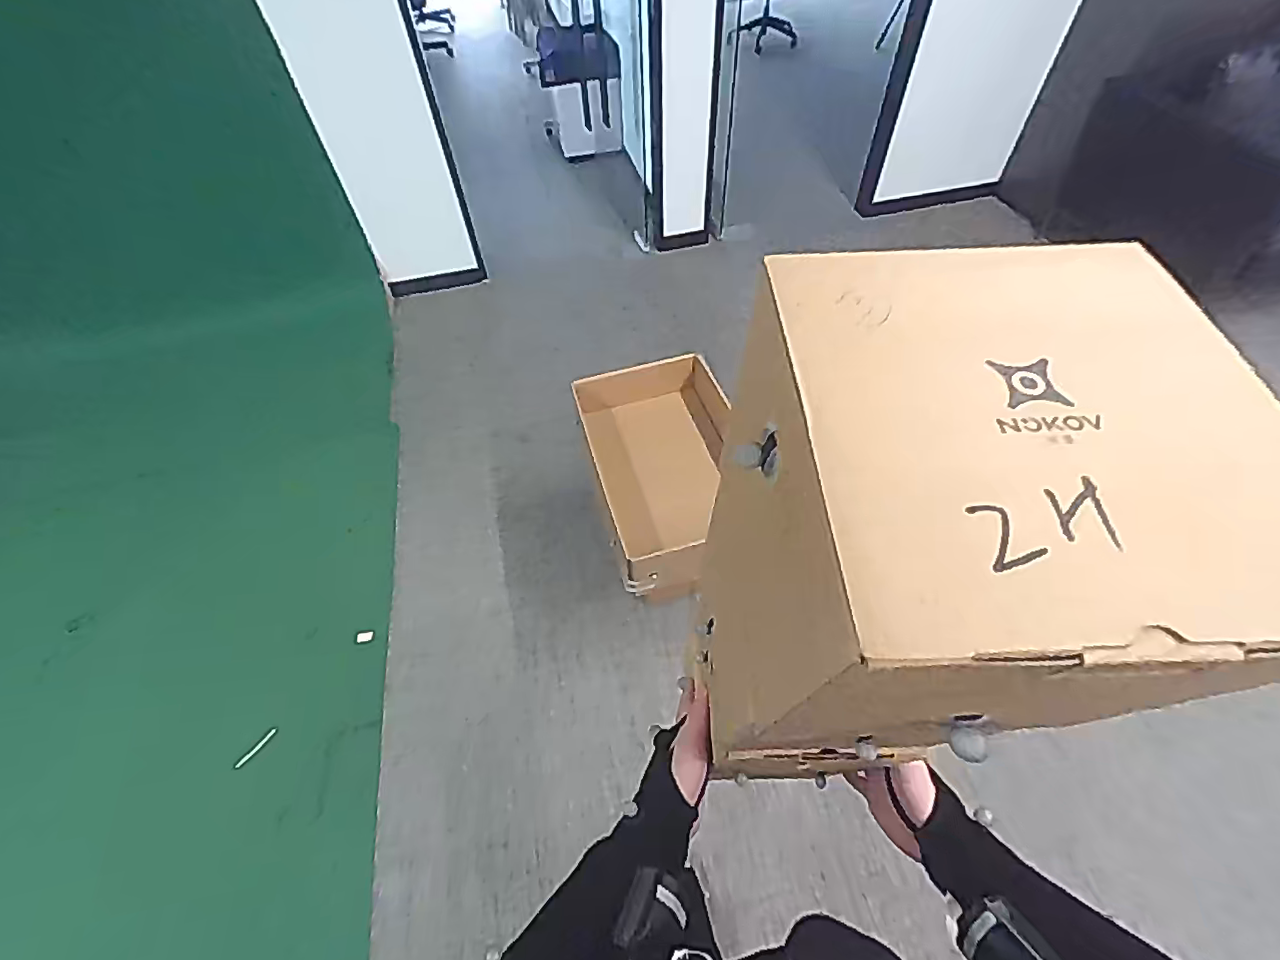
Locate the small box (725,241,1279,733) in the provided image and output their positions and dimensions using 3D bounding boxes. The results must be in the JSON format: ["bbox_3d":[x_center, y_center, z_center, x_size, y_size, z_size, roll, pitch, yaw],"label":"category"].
[{"bbox_3d":[0.137,0.013,0.258,0.168,0.176,0.179,-2,58,0],"label":"small box"}]

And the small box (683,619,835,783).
[{"bbox_3d":[0.146,0.278,0.674,0.179,0.176,0.168,0,57,-1],"label":"small box"}]

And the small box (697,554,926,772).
[{"bbox_3d":[0.147,0.187,0.538,0.168,0.176,0.179,0,58,0],"label":"small box"}]
